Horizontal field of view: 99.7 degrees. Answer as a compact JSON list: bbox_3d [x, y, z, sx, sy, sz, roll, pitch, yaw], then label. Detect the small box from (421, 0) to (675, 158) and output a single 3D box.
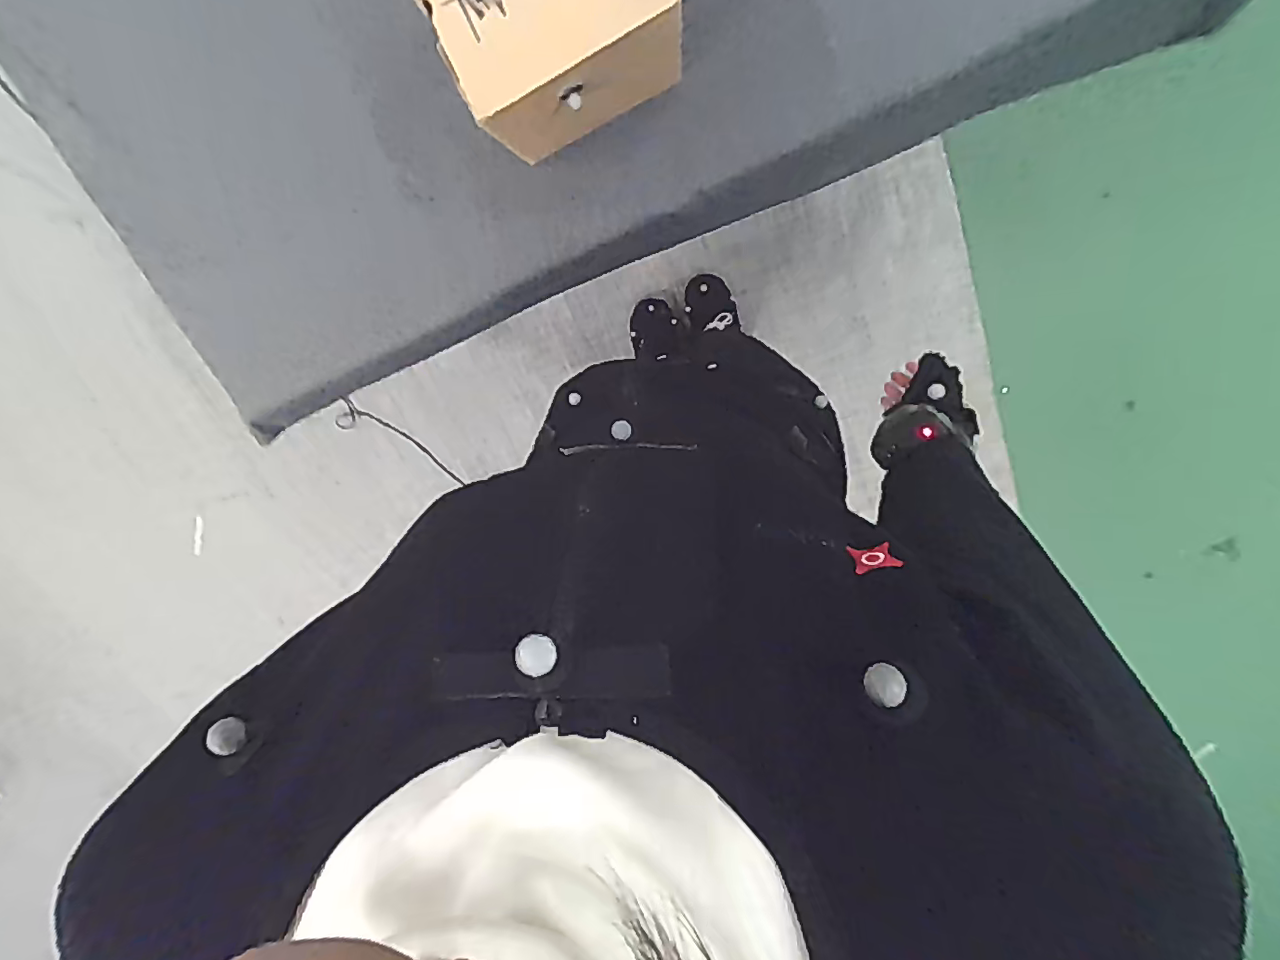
[{"bbox_3d":[-0.077,-0.412,0.466,0.179,0.176,0.168,-23,107,11],"label":"small box"}]
